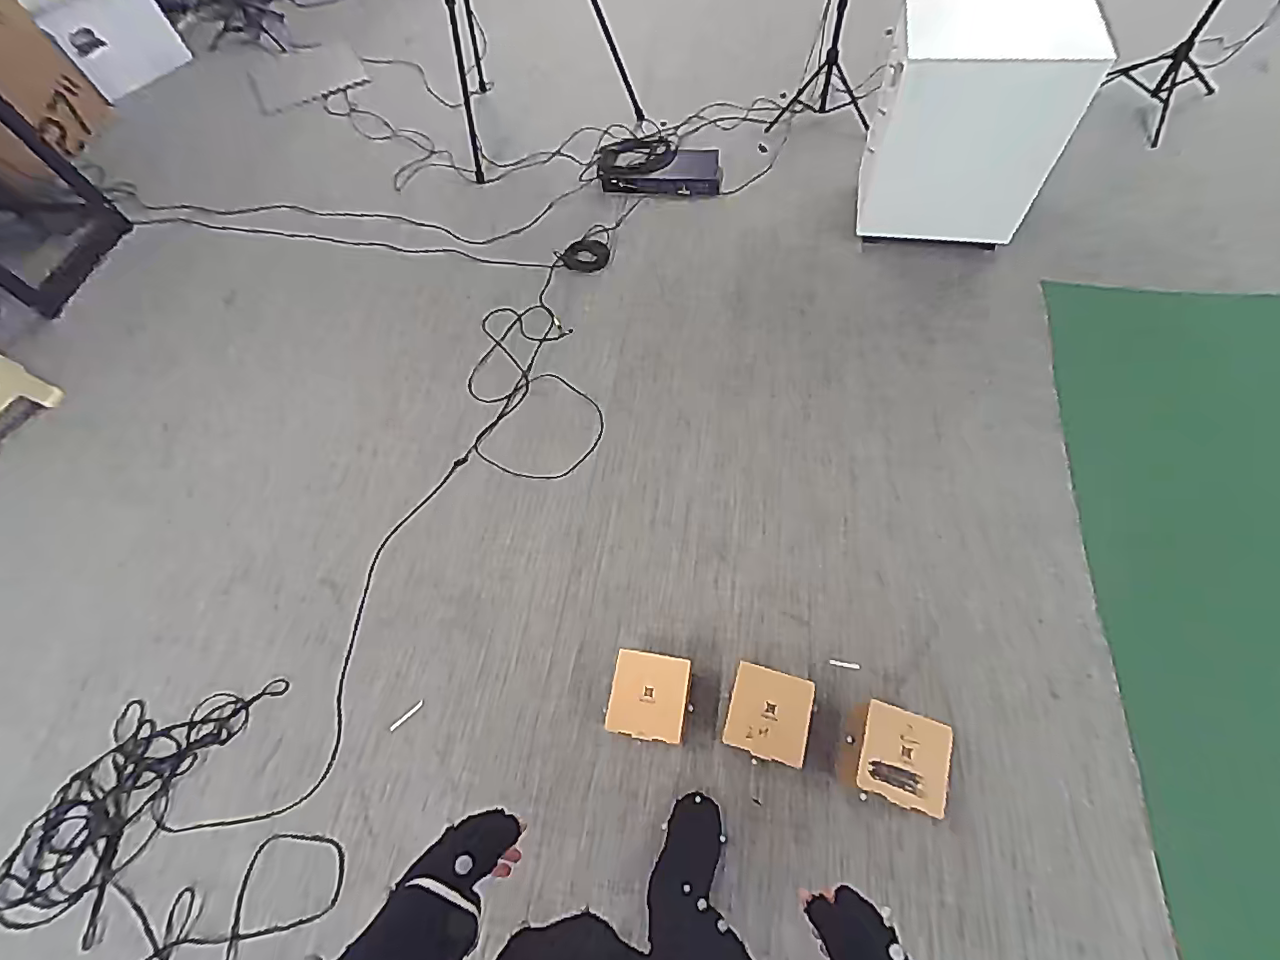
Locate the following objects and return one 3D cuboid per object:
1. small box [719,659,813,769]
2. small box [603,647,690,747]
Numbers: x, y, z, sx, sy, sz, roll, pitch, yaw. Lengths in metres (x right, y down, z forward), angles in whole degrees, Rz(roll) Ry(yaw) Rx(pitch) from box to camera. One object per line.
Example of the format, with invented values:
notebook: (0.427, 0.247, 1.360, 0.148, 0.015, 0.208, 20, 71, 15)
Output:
small box: (0.275, 0.524, 1.206, 0.168, 0.176, 0.179, 14, 64, 14)
small box: (0.022, 0.503, 1.245, 0.168, 0.176, 0.179, 7, 63, 10)
